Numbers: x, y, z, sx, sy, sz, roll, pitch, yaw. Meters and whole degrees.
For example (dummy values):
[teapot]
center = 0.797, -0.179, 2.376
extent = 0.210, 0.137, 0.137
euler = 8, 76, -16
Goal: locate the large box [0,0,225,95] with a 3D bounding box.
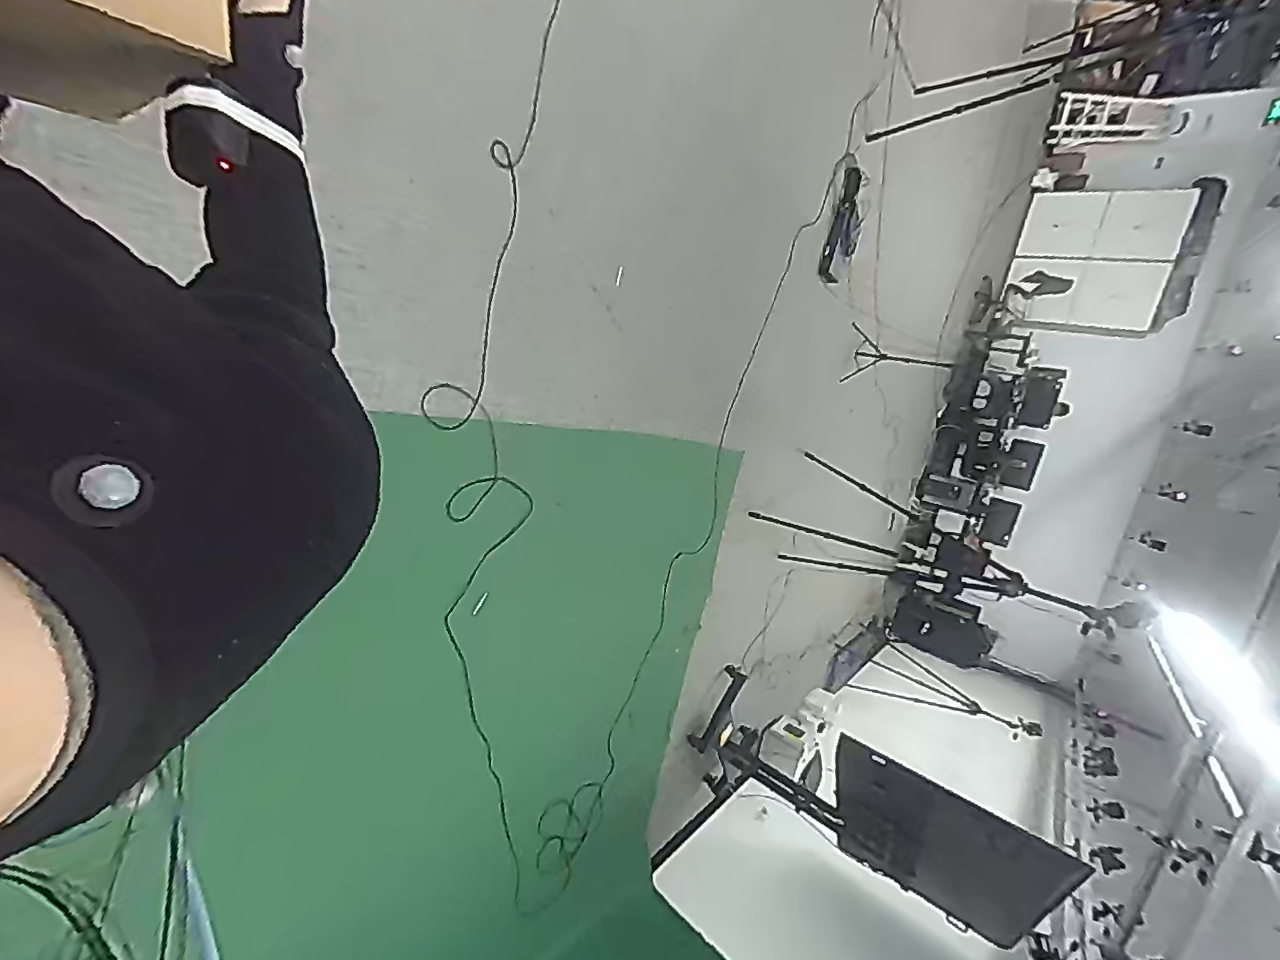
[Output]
[large box]
center = -0.534, -0.473, 0.292
extent = 0.408, 0.320, 0.320
euler = -16, 116, -53
